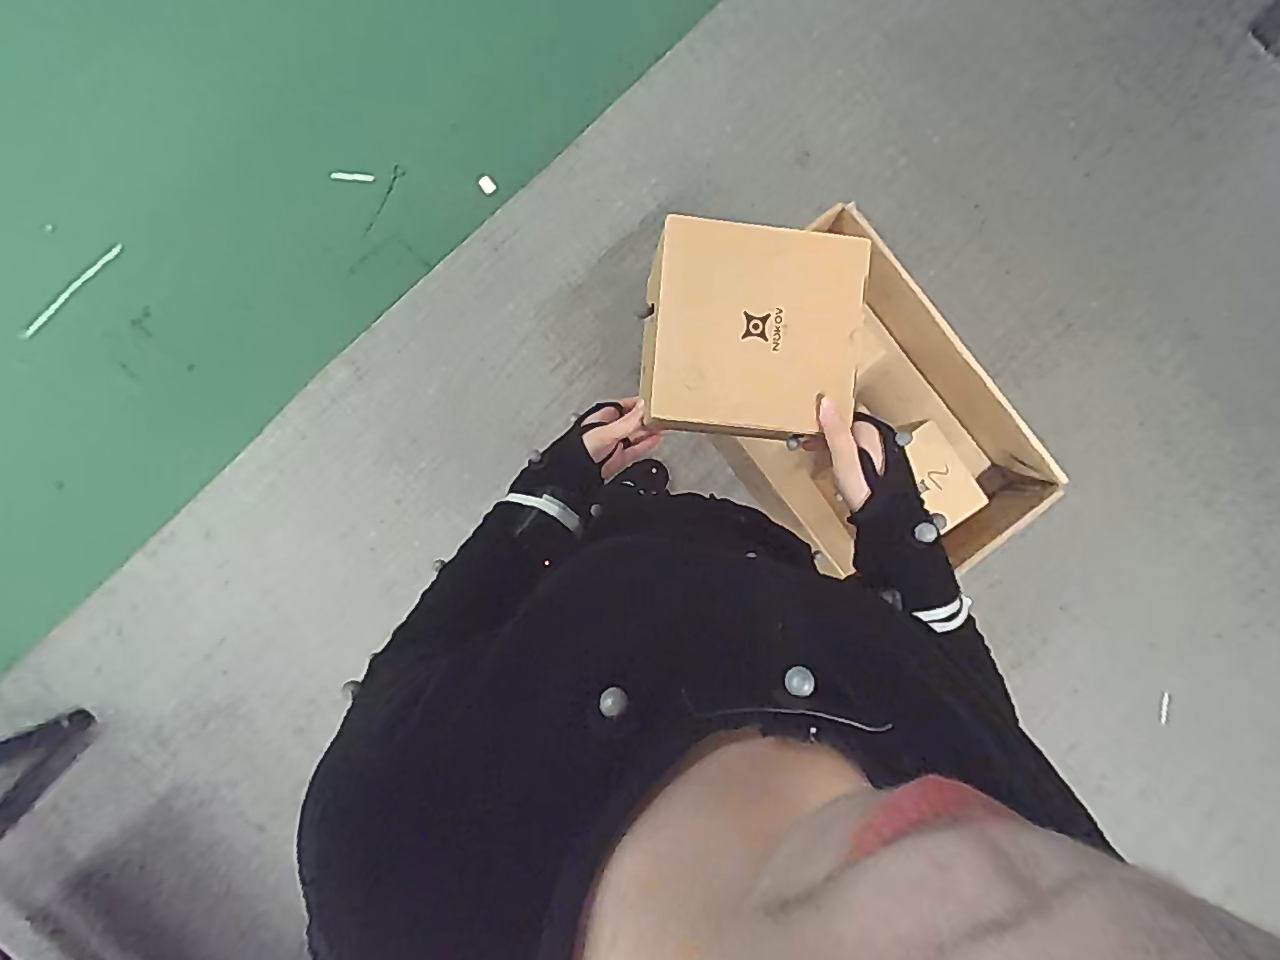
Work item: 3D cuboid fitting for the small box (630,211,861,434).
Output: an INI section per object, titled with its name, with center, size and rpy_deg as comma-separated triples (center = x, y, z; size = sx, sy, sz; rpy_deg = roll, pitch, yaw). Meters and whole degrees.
[small box]
center = 0.086, -0.135, 0.527
size = 0.179, 0.176, 0.168
rpy_deg = 5, 93, -6
